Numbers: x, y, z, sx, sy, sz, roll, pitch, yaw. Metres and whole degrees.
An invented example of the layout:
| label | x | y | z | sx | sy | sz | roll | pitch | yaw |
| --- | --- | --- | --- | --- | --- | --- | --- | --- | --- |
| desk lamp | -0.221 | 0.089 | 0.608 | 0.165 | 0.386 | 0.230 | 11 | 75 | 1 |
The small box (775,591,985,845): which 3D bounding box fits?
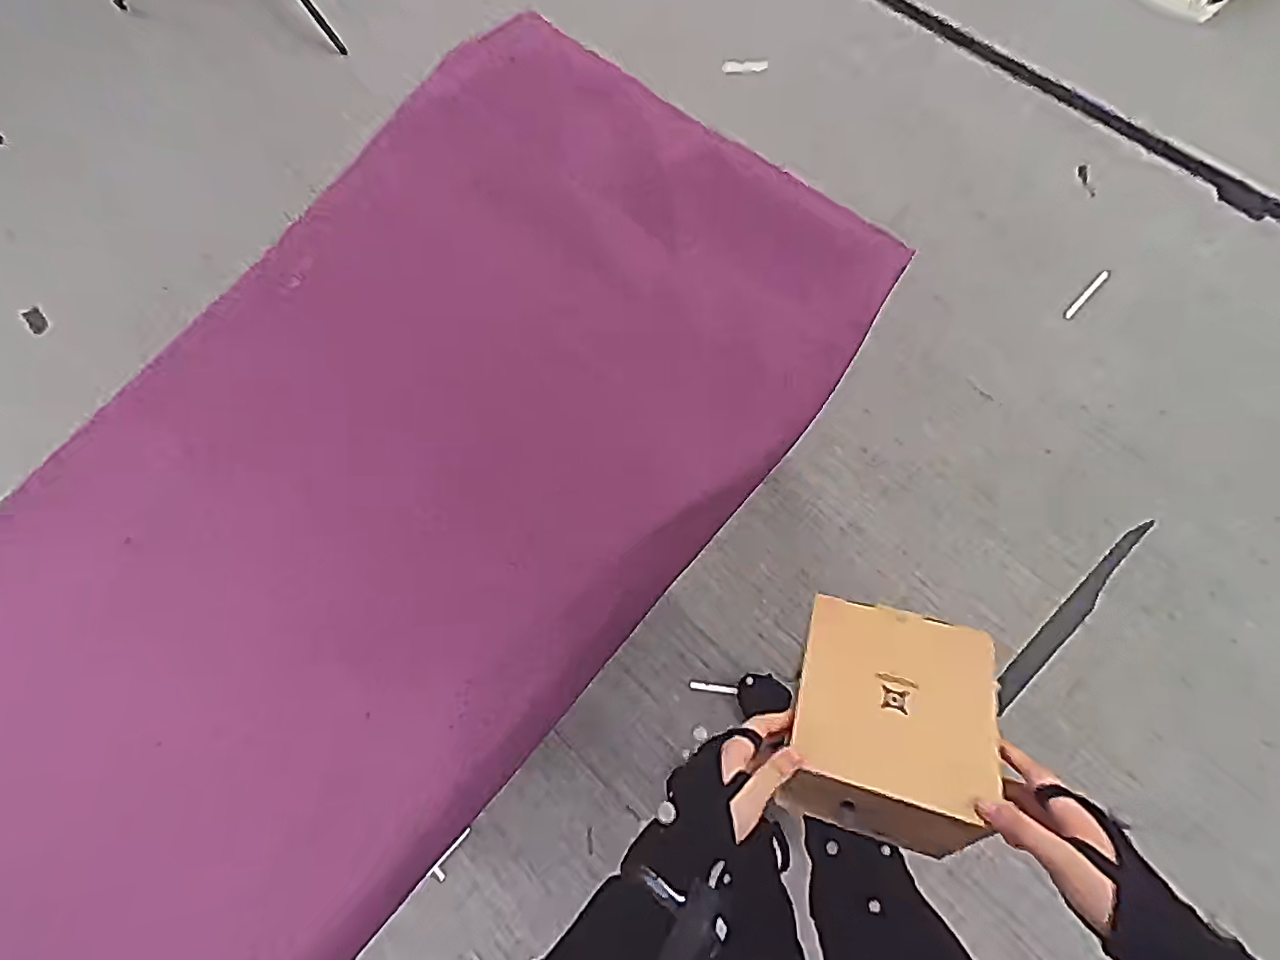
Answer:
| label | x | y | z | sx | sy | sz | roll | pitch | yaw |
| --- | --- | --- | --- | --- | --- | --- | --- | --- | --- |
| small box | 0.238 | 0.247 | 0.563 | 0.168 | 0.176 | 0.179 | 9 | 49 | 18 |
